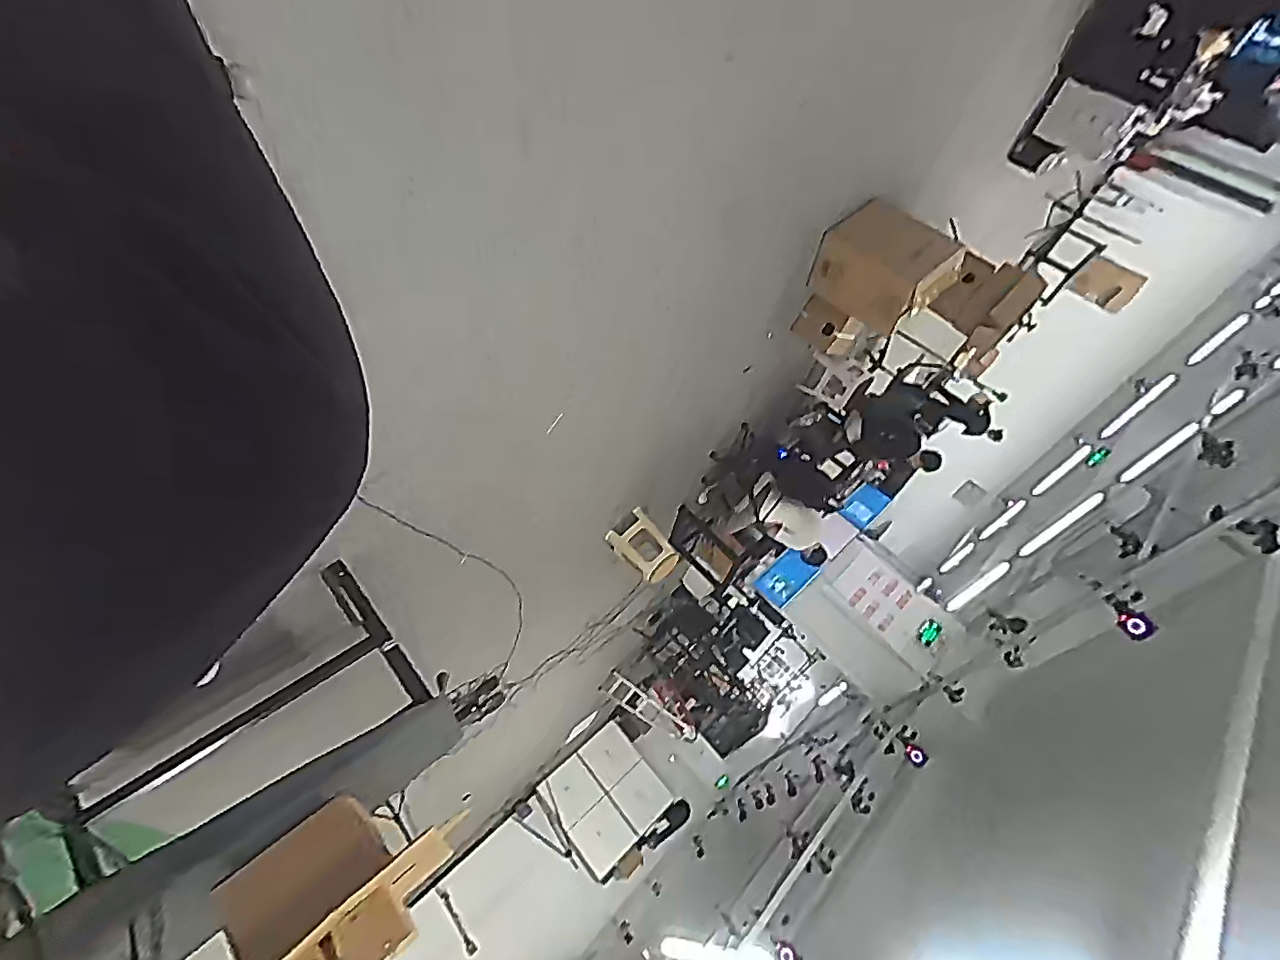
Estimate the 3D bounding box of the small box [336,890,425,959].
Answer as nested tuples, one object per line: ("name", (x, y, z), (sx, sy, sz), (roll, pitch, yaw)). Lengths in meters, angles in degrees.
("small box", (-0.774, 1.374, 1.621), (0.168, 0.176, 0.179), (-34, 154, -33))
